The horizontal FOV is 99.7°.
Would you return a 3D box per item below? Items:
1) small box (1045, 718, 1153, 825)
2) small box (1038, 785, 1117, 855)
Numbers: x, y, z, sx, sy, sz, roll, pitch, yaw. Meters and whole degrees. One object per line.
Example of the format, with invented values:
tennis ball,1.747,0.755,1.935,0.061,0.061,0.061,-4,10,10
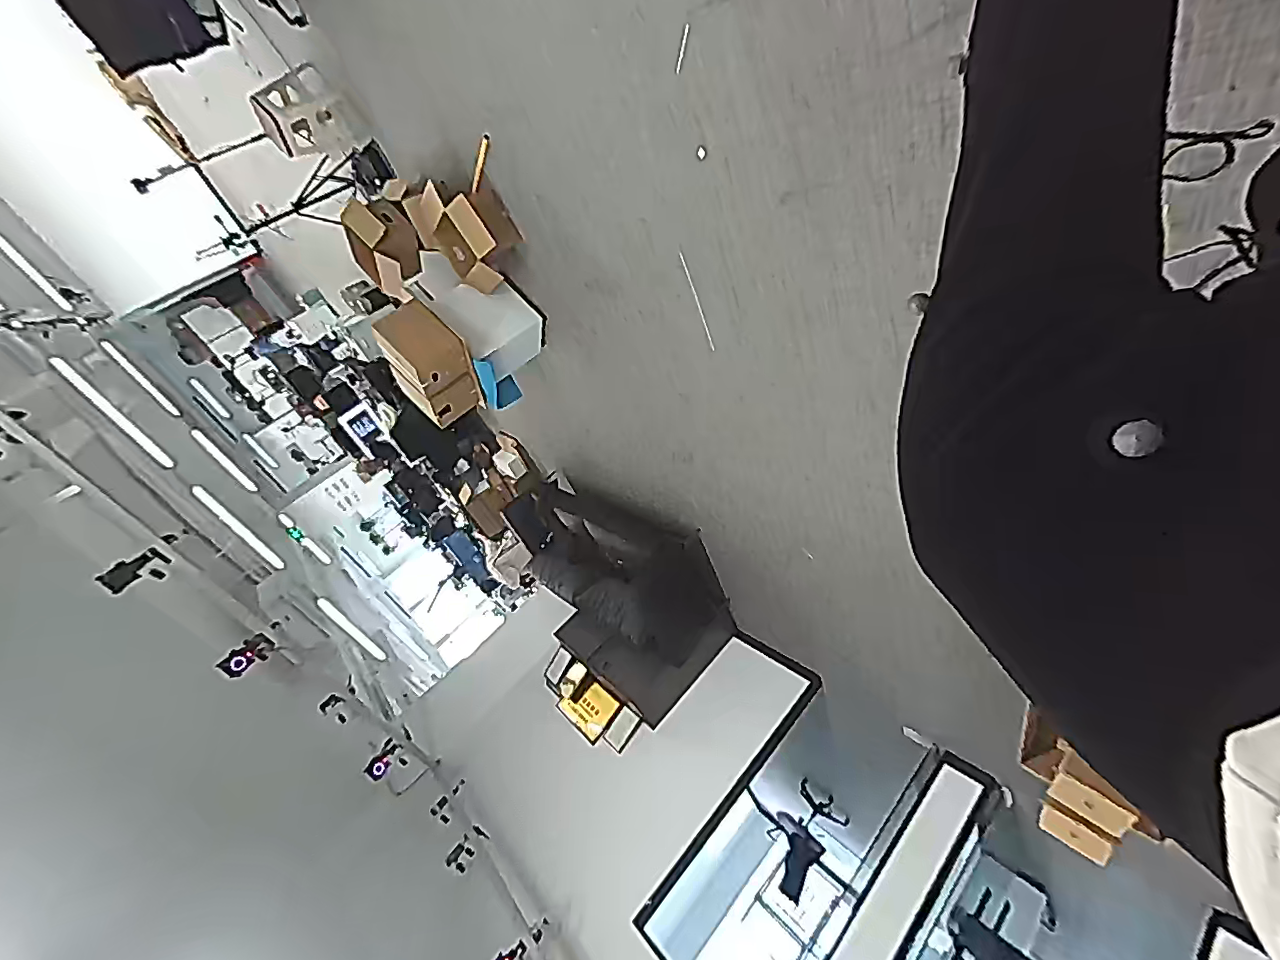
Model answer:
small box,1.249,0.788,1.473,0.168,0.176,0.179,28,151,40
small box,1.330,0.966,1.623,0.168,0.176,0.179,23,145,46
